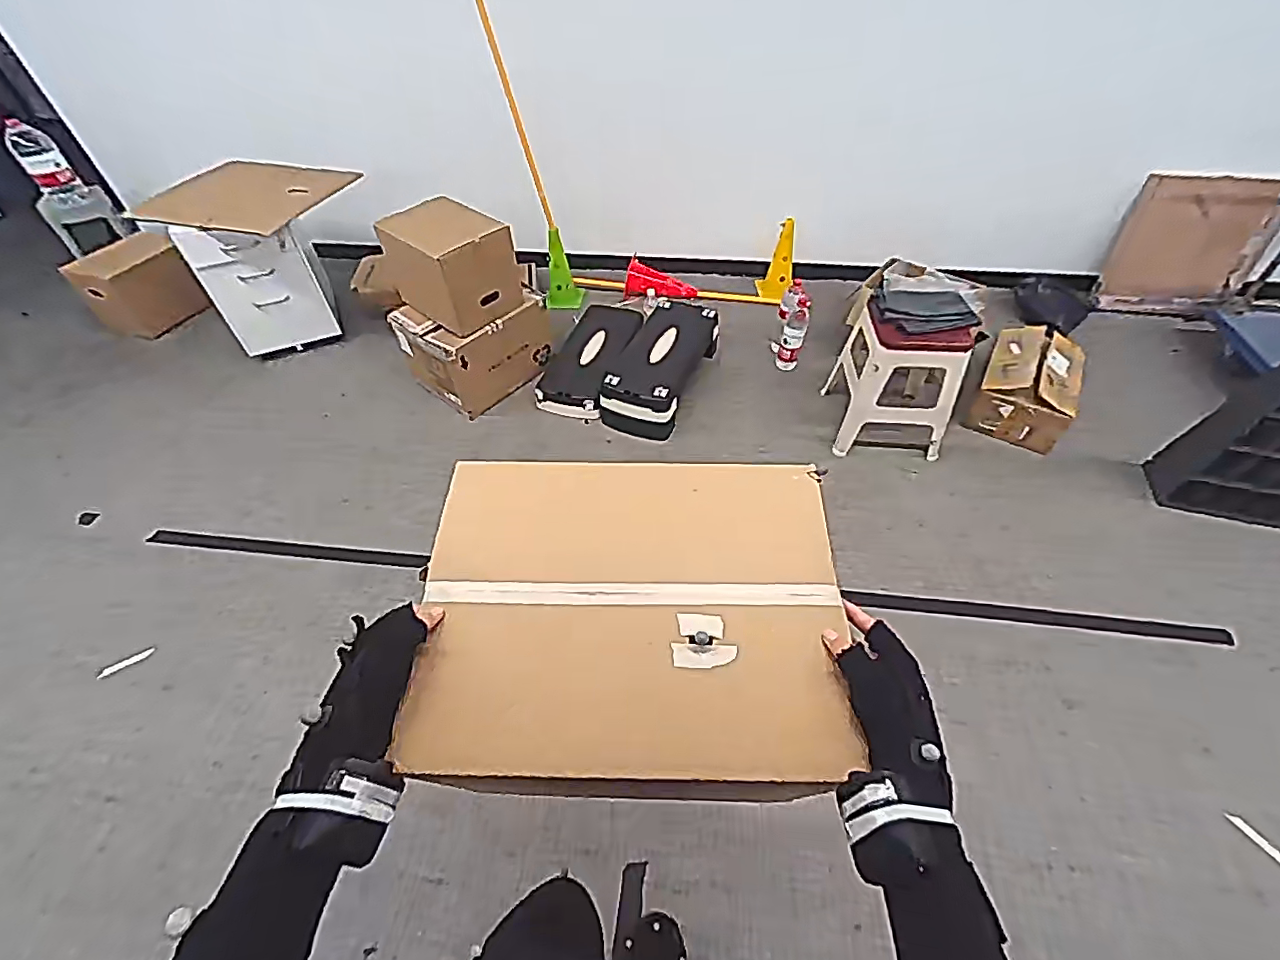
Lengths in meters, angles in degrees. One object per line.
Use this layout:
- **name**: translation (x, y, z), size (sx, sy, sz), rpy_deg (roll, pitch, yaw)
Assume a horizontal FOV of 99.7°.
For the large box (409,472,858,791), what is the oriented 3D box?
- **large box**: translation (-0.007, 0.200, 0.675), size (0.408, 0.320, 0.320), rpy_deg (1, 58, 0)
